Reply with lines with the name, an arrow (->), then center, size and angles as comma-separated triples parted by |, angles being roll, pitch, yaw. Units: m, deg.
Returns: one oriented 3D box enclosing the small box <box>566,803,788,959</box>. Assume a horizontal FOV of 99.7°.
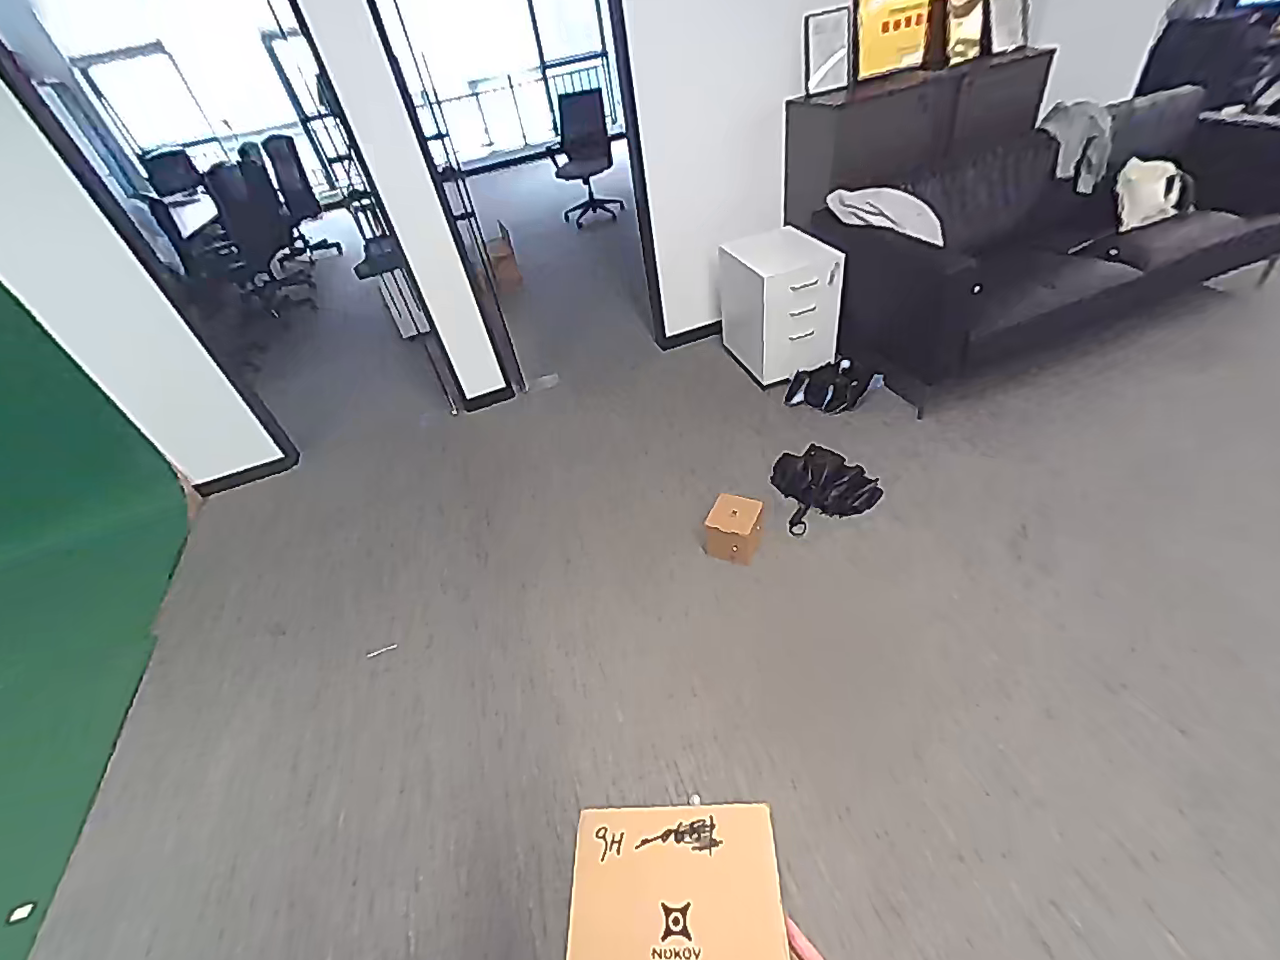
small box -> 0.038, 0.395, 0.457 | 0.168, 0.176, 0.179 | -5, 43, 7
